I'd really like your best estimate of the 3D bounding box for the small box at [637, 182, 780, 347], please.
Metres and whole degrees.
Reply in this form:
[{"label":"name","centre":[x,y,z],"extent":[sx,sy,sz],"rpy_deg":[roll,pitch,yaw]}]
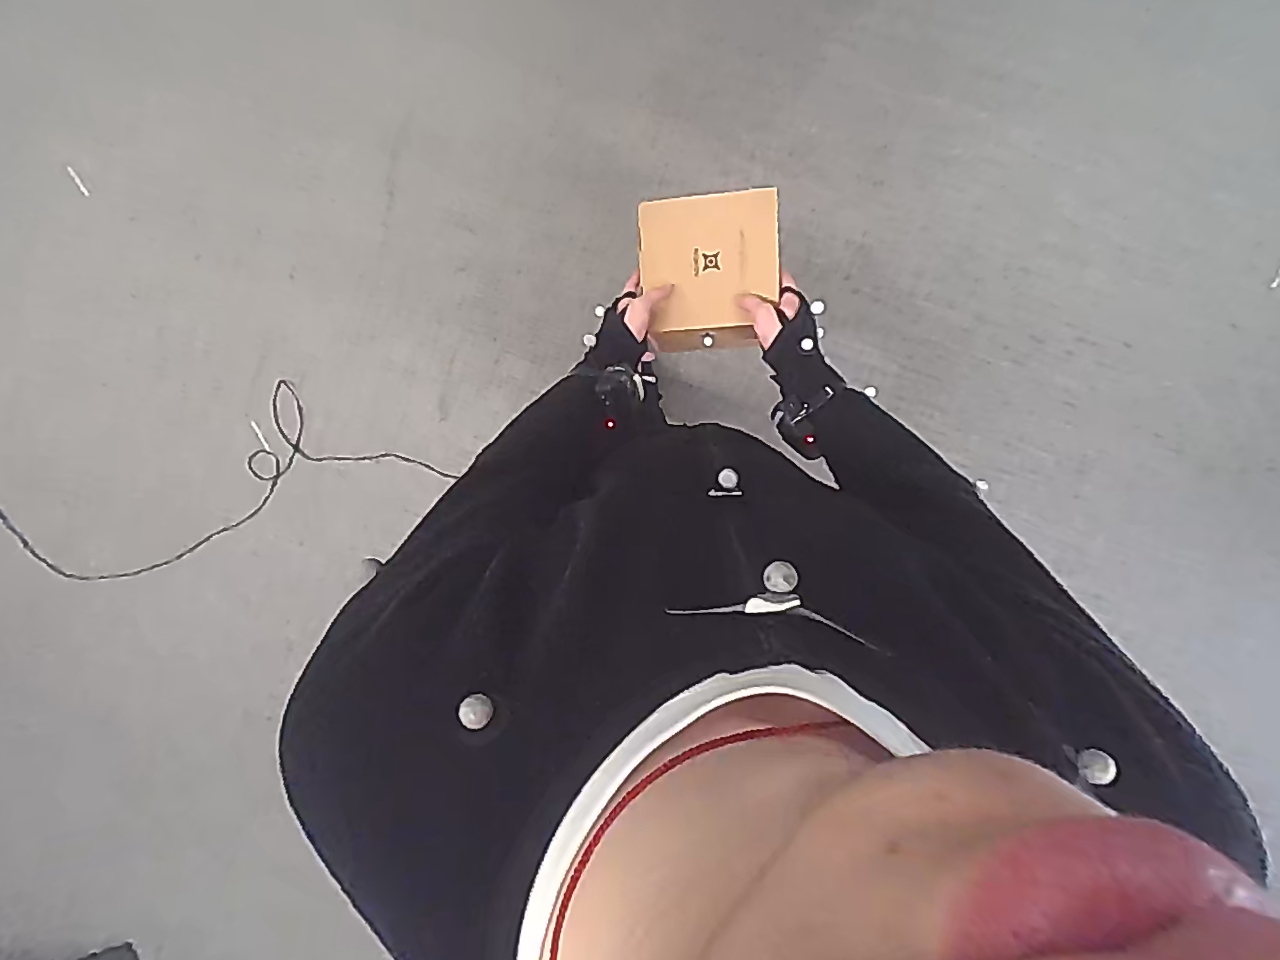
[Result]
[{"label":"small box","centre":[0.097,-0.288,0.761],"extent":[0.179,0.176,0.168],"rpy_deg":[-3,95,8]}]
